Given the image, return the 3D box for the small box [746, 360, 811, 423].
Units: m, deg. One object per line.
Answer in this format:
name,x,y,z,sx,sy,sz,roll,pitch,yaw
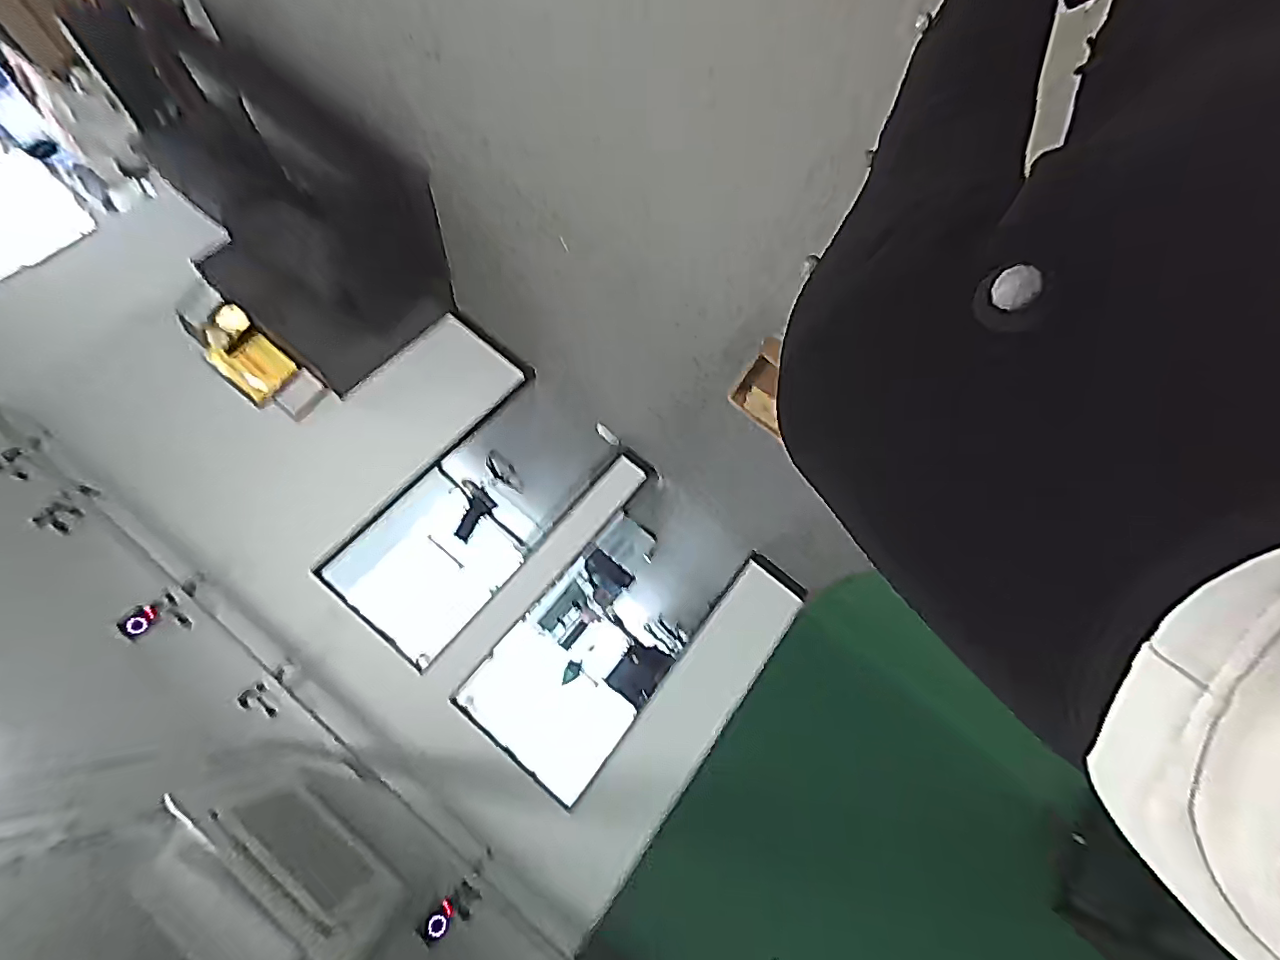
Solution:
small box,0.585,-0.382,2.285,0.179,0.176,0.168,37,158,9
